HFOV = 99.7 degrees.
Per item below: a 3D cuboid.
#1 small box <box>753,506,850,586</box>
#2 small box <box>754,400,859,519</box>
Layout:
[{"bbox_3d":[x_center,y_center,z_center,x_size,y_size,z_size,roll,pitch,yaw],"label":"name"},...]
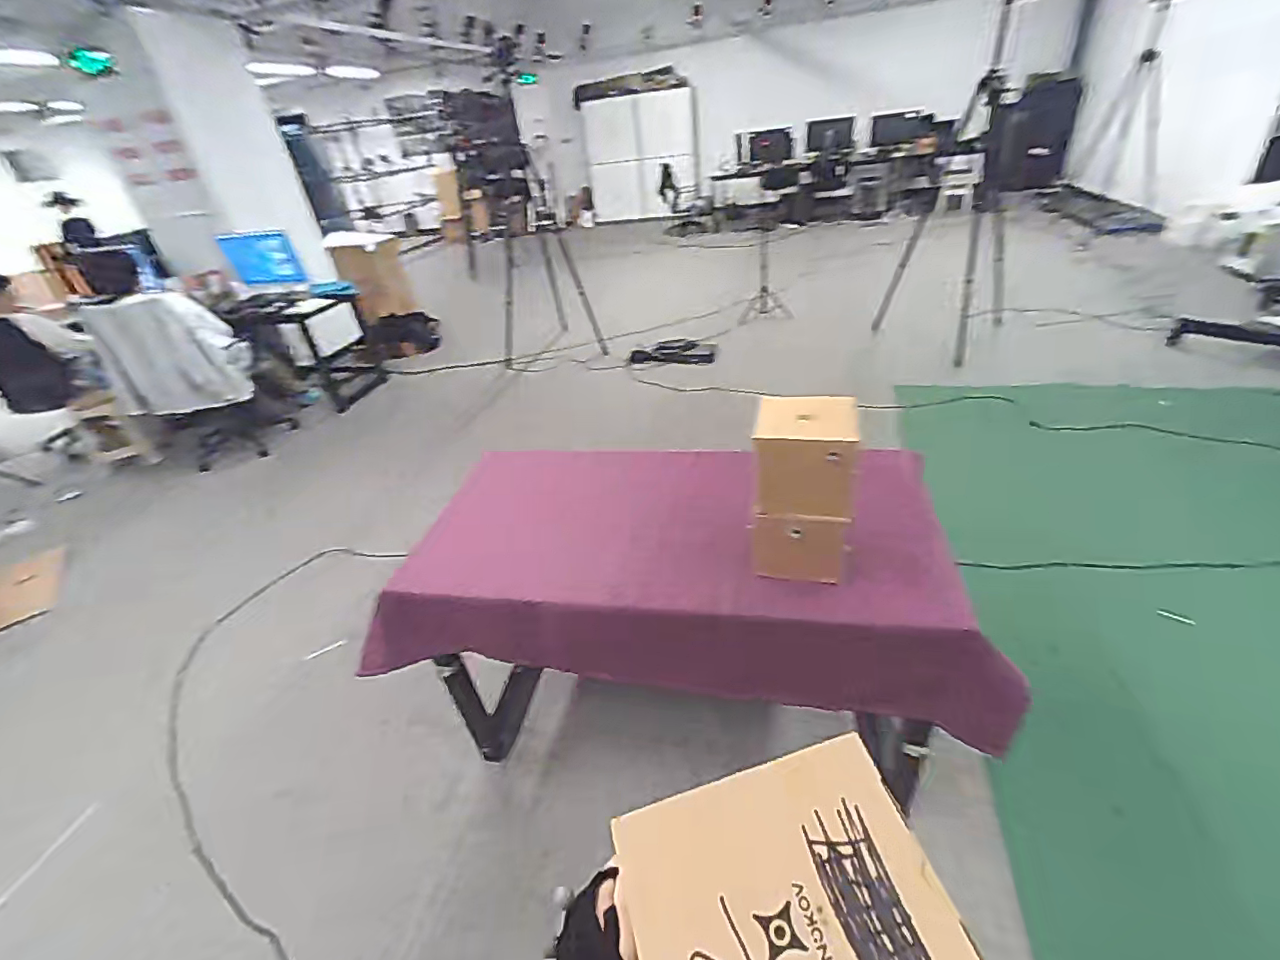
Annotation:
[{"bbox_3d":[0.333,0.098,1.109,0.179,0.176,0.168,4,36,19],"label":"small box"},{"bbox_3d":[0.313,-0.039,1.025,0.179,0.176,0.168,3,35,17],"label":"small box"}]
